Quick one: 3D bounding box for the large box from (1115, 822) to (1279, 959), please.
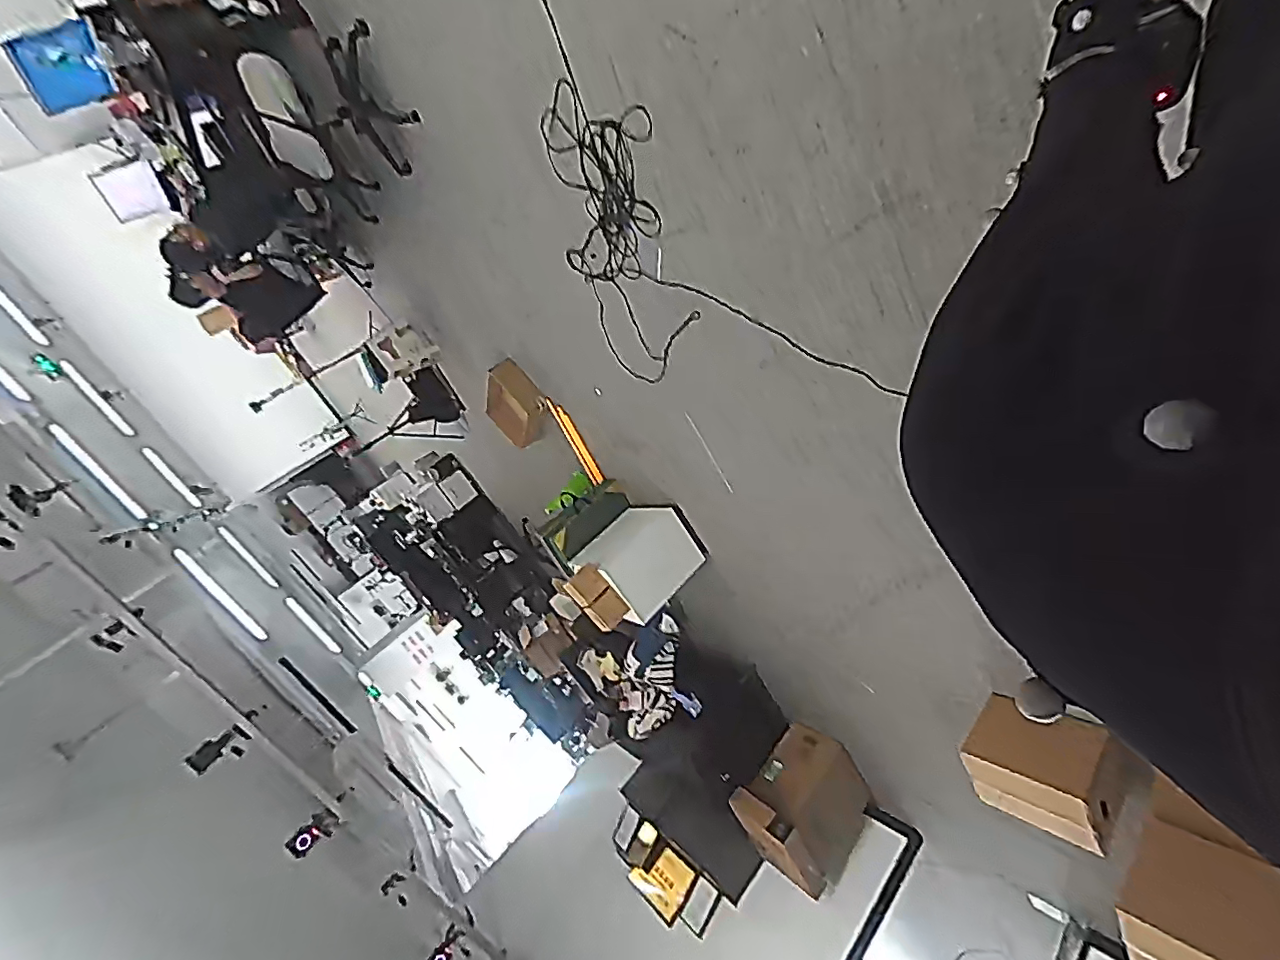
[{"bbox_3d":[1.551,1.199,1.398,0.408,0.320,0.320,1,124,56],"label":"large box"}]
